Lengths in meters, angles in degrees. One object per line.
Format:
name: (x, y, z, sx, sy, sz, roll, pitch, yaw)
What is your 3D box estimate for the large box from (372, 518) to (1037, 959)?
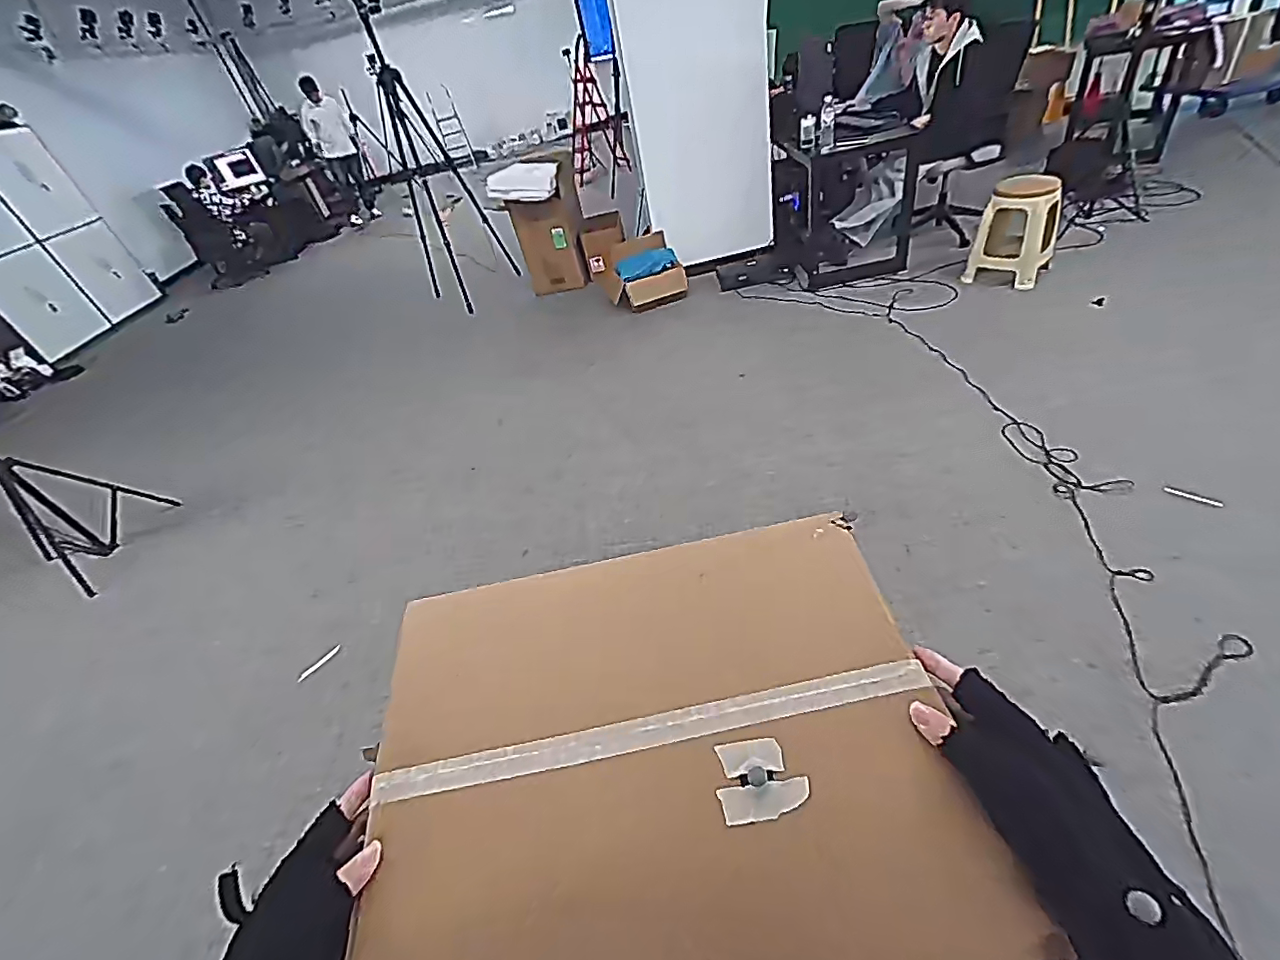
large box: (0.031, 0.285, 0.513, 0.408, 0.320, 0.320, -12, 47, 0)
